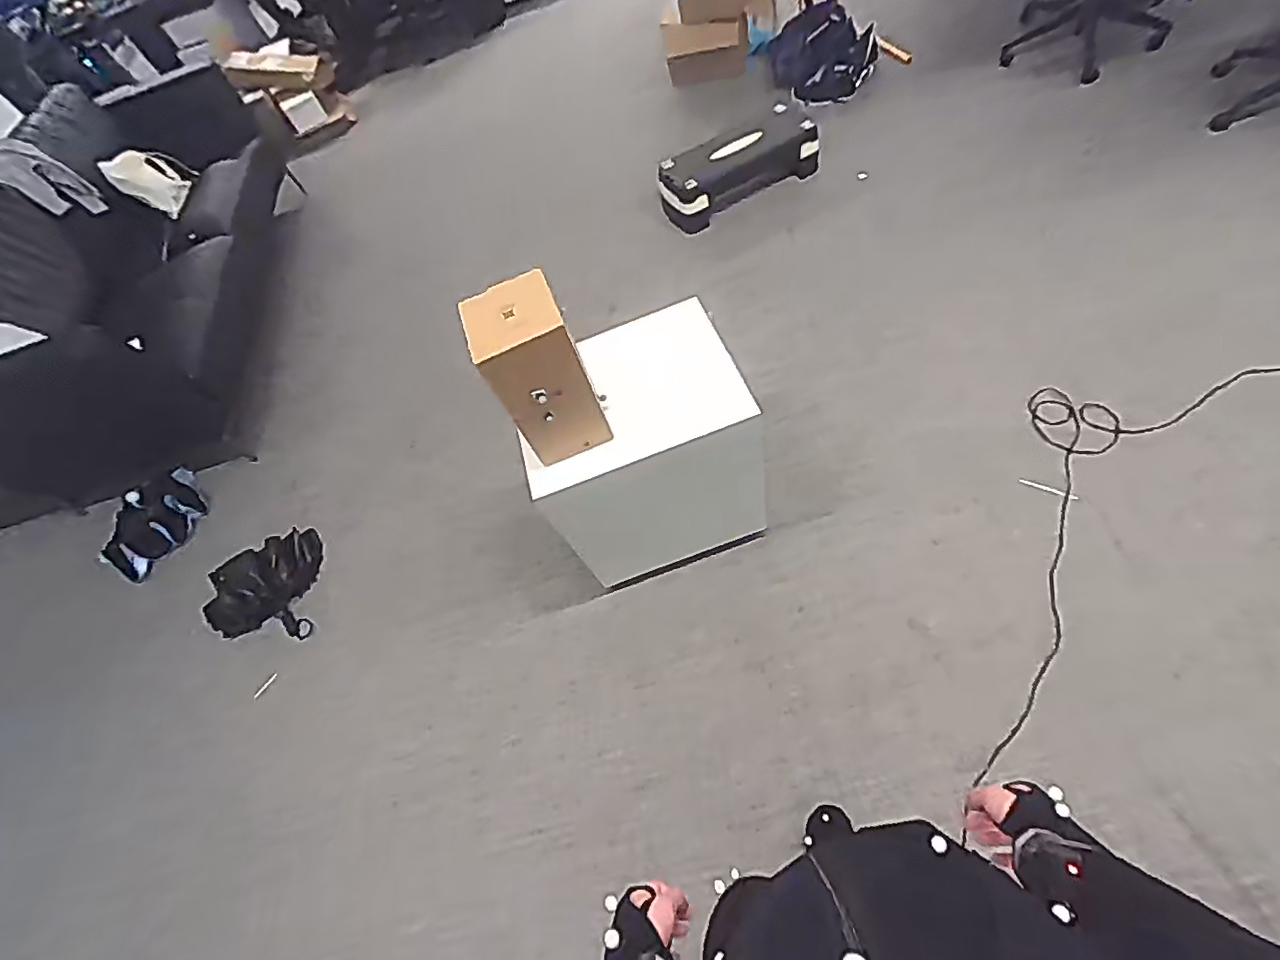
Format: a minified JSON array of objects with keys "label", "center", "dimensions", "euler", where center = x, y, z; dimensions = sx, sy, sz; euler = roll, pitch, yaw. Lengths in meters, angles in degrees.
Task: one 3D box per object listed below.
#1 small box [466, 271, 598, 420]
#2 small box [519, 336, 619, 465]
[{"label":"small box","center":[-0.197,-0.244,1.006],"dimensions":[0.168,0.176,0.179],"euler":[-25,57,1]},{"label":"small box","center":[-0.160,-0.164,1.143],"dimensions":[0.168,0.176,0.179],"euler":[-23,56,1]}]
